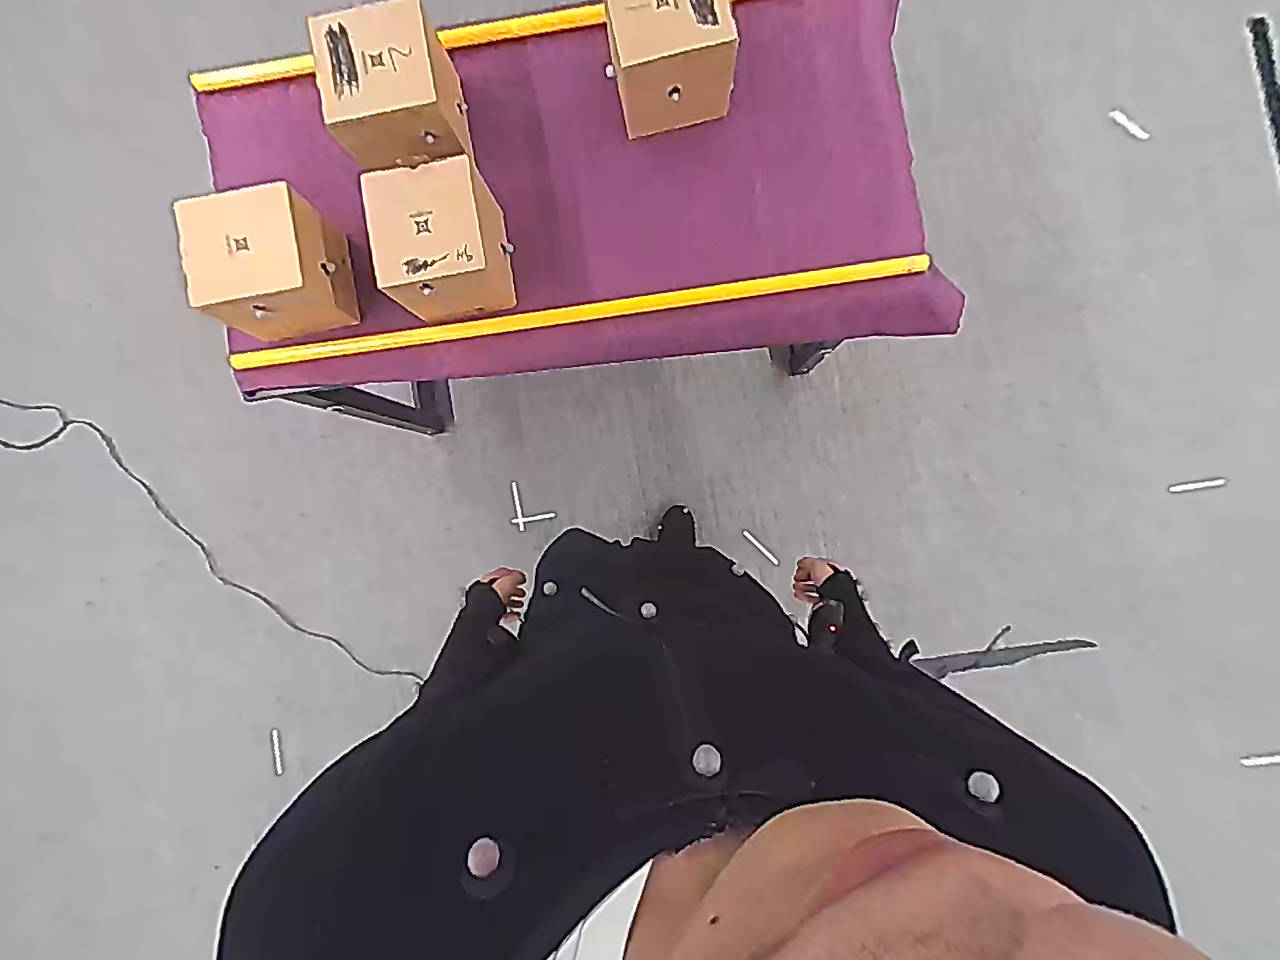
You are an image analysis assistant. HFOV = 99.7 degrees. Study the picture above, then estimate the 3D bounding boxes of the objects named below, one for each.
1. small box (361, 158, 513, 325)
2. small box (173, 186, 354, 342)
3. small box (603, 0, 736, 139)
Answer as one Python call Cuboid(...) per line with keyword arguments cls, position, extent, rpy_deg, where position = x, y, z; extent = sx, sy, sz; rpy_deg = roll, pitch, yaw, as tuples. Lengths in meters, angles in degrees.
Cuboid(cls="small box", position=(-0.314, -0.369, 0.865), extent=(0.168, 0.176, 0.179), rpy_deg=(-9, 87, 3))
Cuboid(cls="small box", position=(-0.592, -0.338, 0.877), extent=(0.179, 0.176, 0.168), rpy_deg=(-11, 87, 2))
Cuboid(cls="small box", position=(0.041, -0.685, 0.856), extent=(0.179, 0.176, 0.168), rpy_deg=(-12, 89, 3))
